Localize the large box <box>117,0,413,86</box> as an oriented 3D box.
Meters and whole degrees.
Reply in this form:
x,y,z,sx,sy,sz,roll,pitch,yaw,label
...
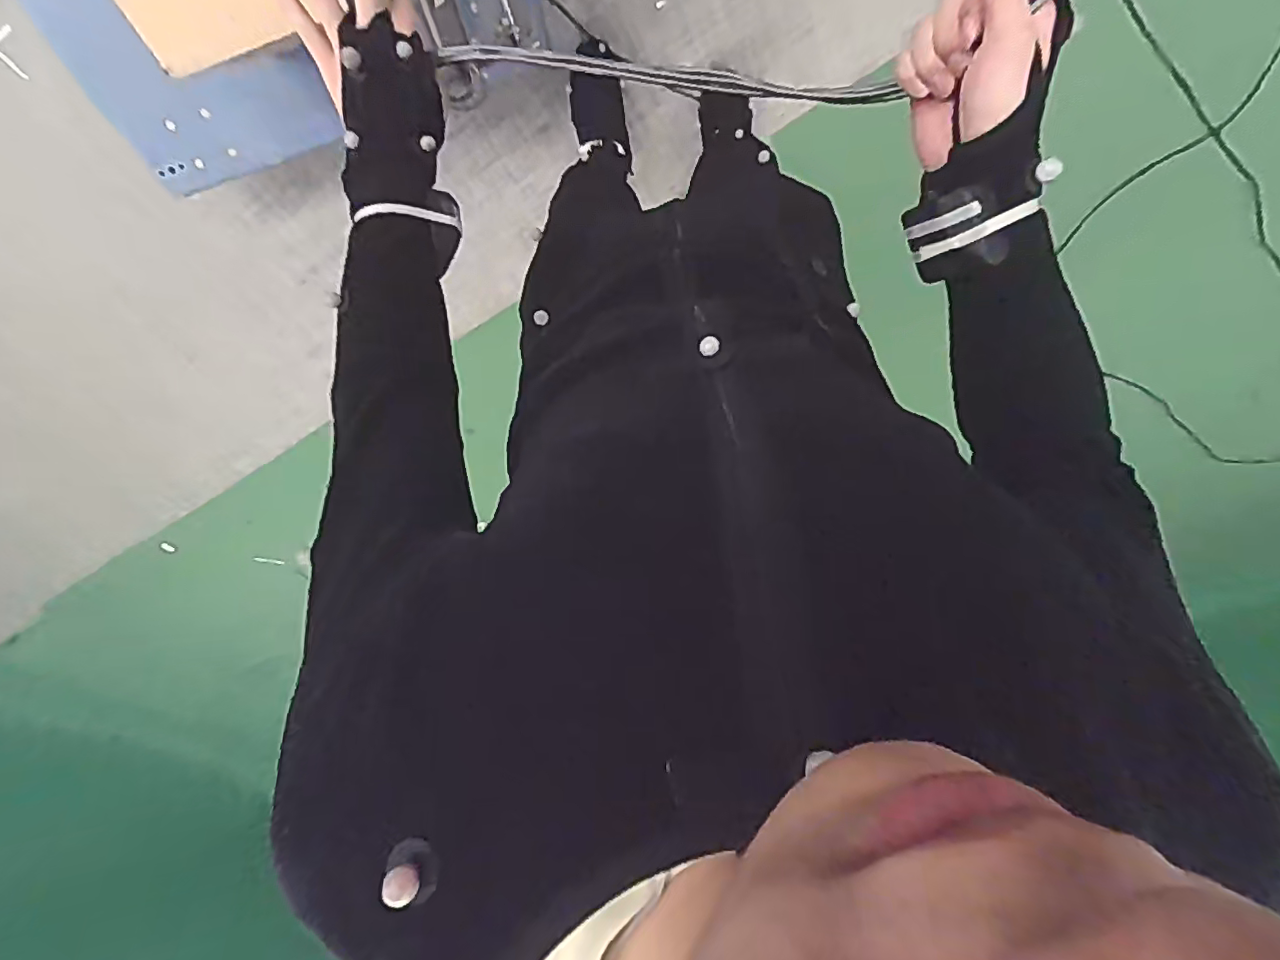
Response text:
x,y,z,sx,sy,sz,roll,pitch,yaw,label
-0.527,-0.828,0.763,0.408,0.320,0.320,-12,132,10,large box
